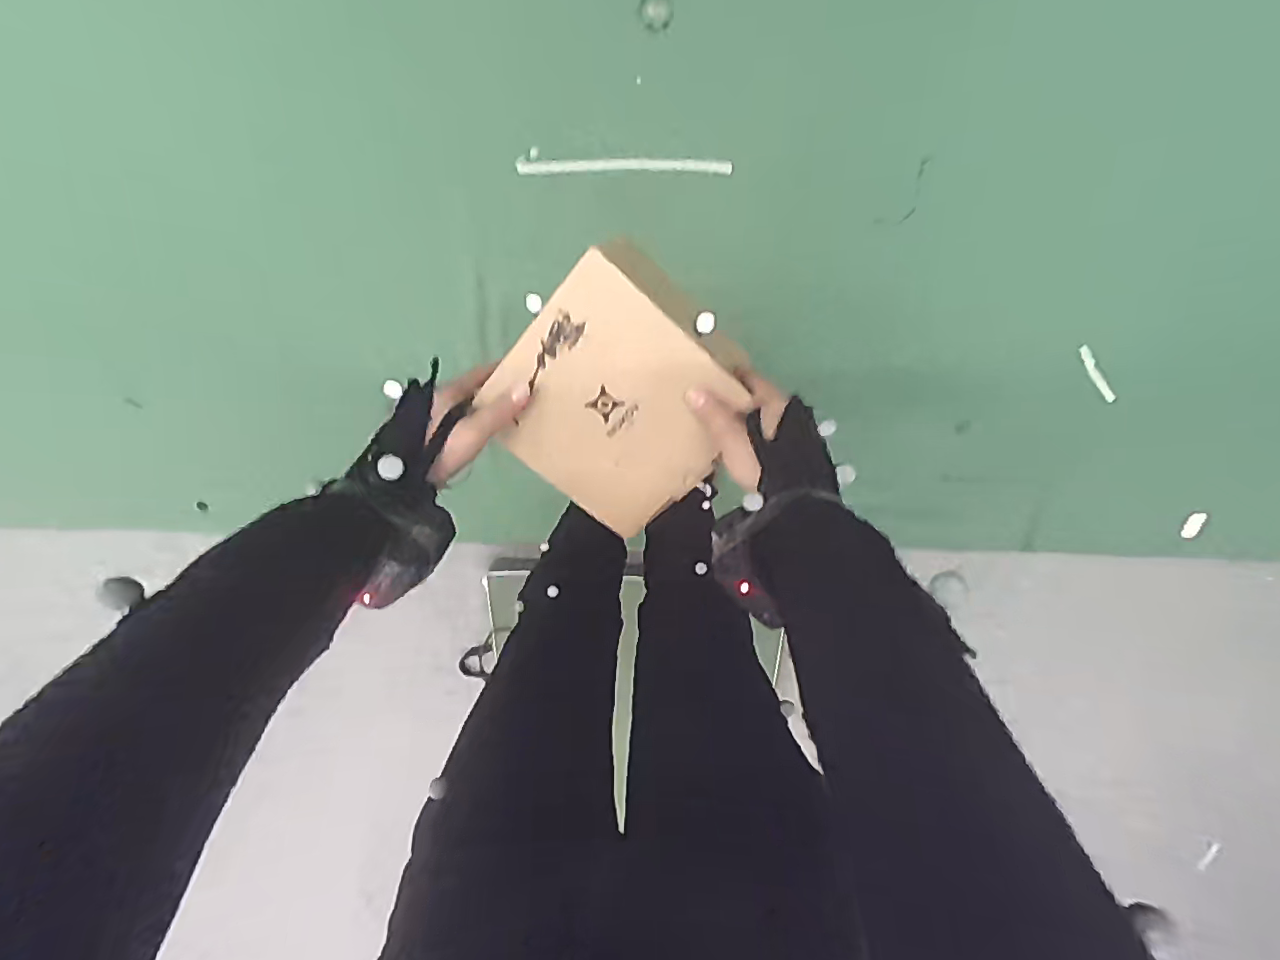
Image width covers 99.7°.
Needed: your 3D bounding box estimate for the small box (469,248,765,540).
[{"bbox_3d":[-0.014,-0.087,0.490,0.179,0.176,0.168,40,113,-16],"label":"small box"}]
